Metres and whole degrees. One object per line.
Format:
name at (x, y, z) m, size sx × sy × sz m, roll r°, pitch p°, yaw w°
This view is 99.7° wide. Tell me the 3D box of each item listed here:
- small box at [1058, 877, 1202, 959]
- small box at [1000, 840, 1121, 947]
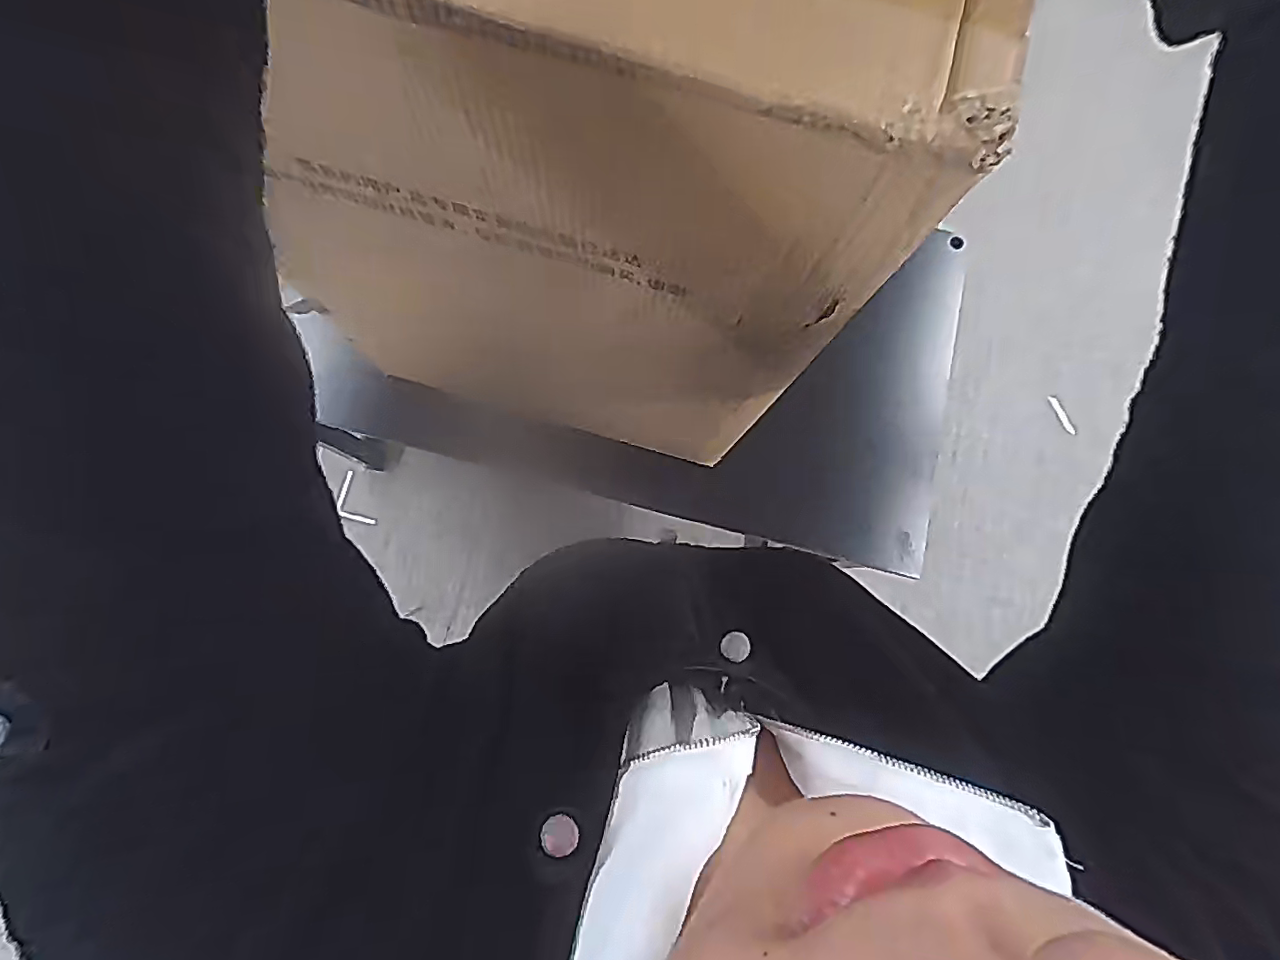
small box at (1.070, 1.010, 1.189) m, size 0.179 × 0.176 × 0.168 m, roll 7°, pitch 78°, yaw -2°
small box at (1.048, 1.035, 1.351) m, size 0.179 × 0.176 × 0.168 m, roll 12°, pitch 78°, yaw 0°
